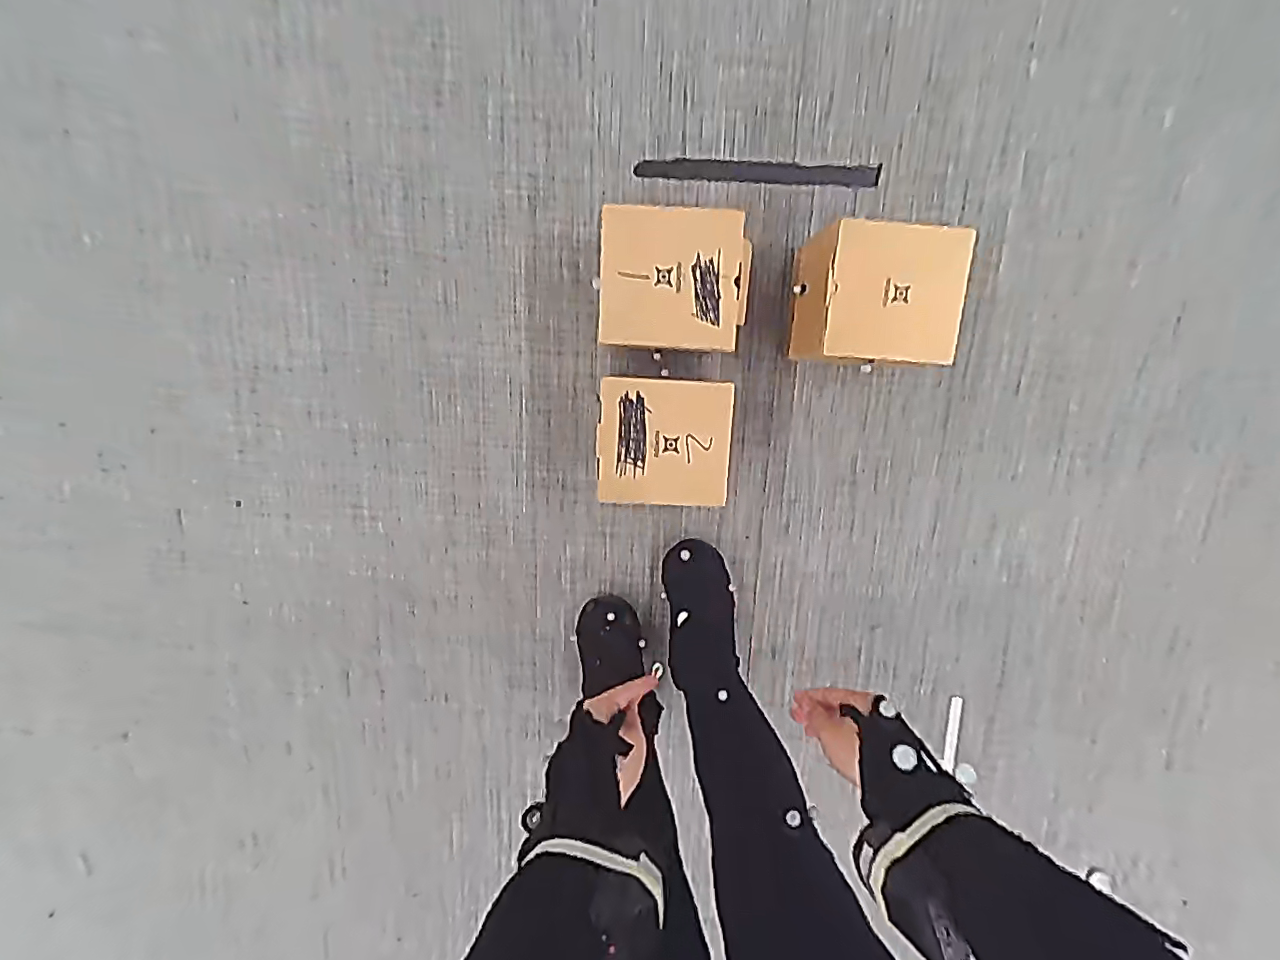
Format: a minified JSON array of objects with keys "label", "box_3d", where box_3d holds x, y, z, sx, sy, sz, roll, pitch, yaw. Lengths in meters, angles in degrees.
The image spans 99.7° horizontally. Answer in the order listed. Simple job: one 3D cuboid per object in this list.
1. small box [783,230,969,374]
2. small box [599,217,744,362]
[{"label":"small box","box_3d":[0.320,-0.242,0.769,0.179,0.176,0.168,4,101,-2]},{"label":"small box","box_3d":[0.037,-0.255,0.759,0.179,0.176,0.168,3,101,-1]}]
